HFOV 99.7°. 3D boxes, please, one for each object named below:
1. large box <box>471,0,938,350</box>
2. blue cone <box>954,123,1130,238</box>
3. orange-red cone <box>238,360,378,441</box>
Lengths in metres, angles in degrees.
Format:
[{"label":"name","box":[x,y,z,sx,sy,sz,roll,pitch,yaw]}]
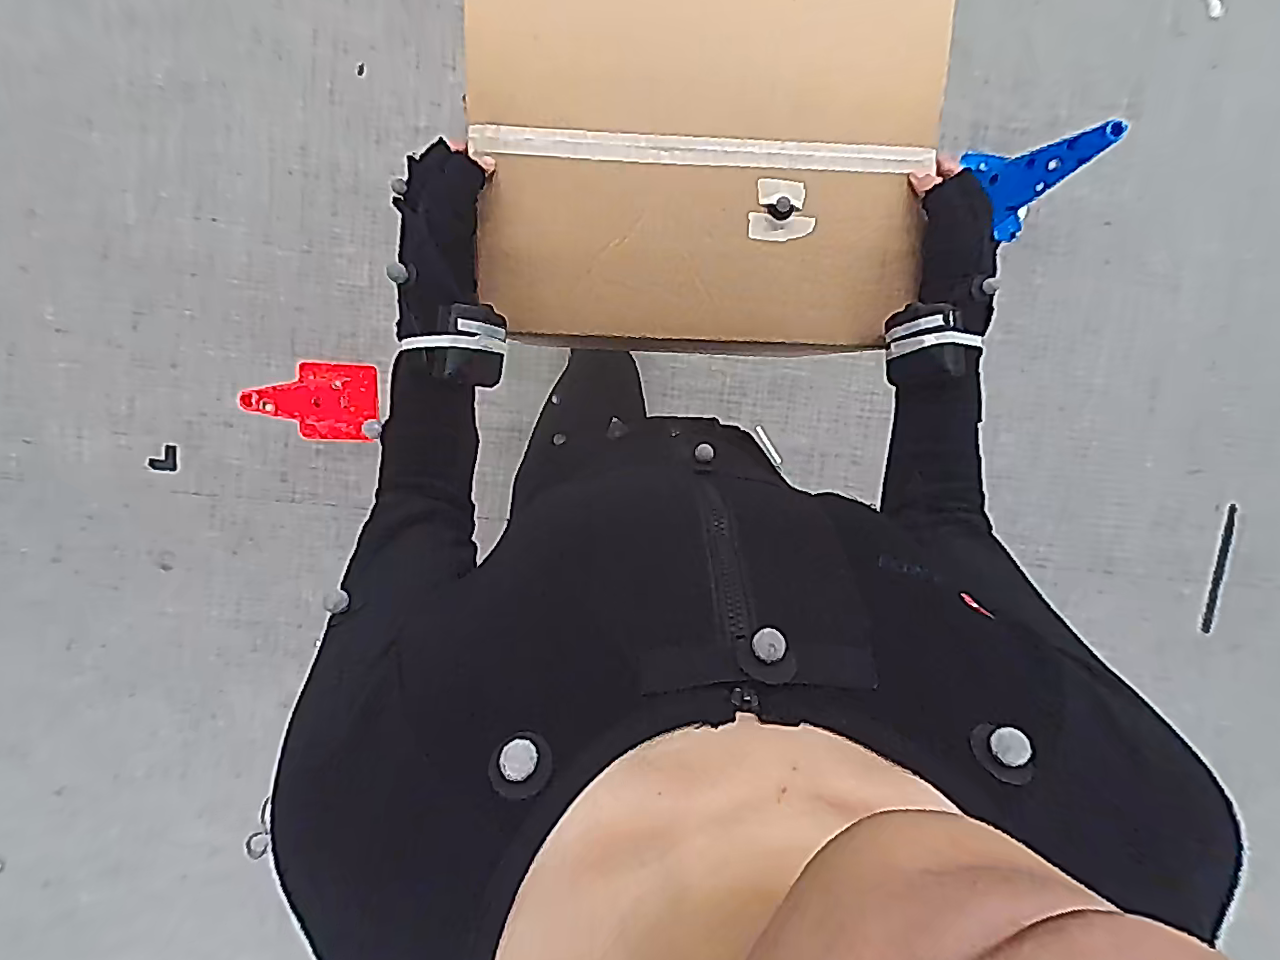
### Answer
[{"label":"large box","box":[0.046,-0.318,0.620,0.408,0.320,0.320,1,101,-4]},{"label":"blue cone","box":[0.934,-0.718,1.254,0.192,0.380,0.193,9,98,-5]},{"label":"orange-red cone","box":[-0.771,-0.178,1.228,0.198,0.360,0.199,4,99,-2]}]
